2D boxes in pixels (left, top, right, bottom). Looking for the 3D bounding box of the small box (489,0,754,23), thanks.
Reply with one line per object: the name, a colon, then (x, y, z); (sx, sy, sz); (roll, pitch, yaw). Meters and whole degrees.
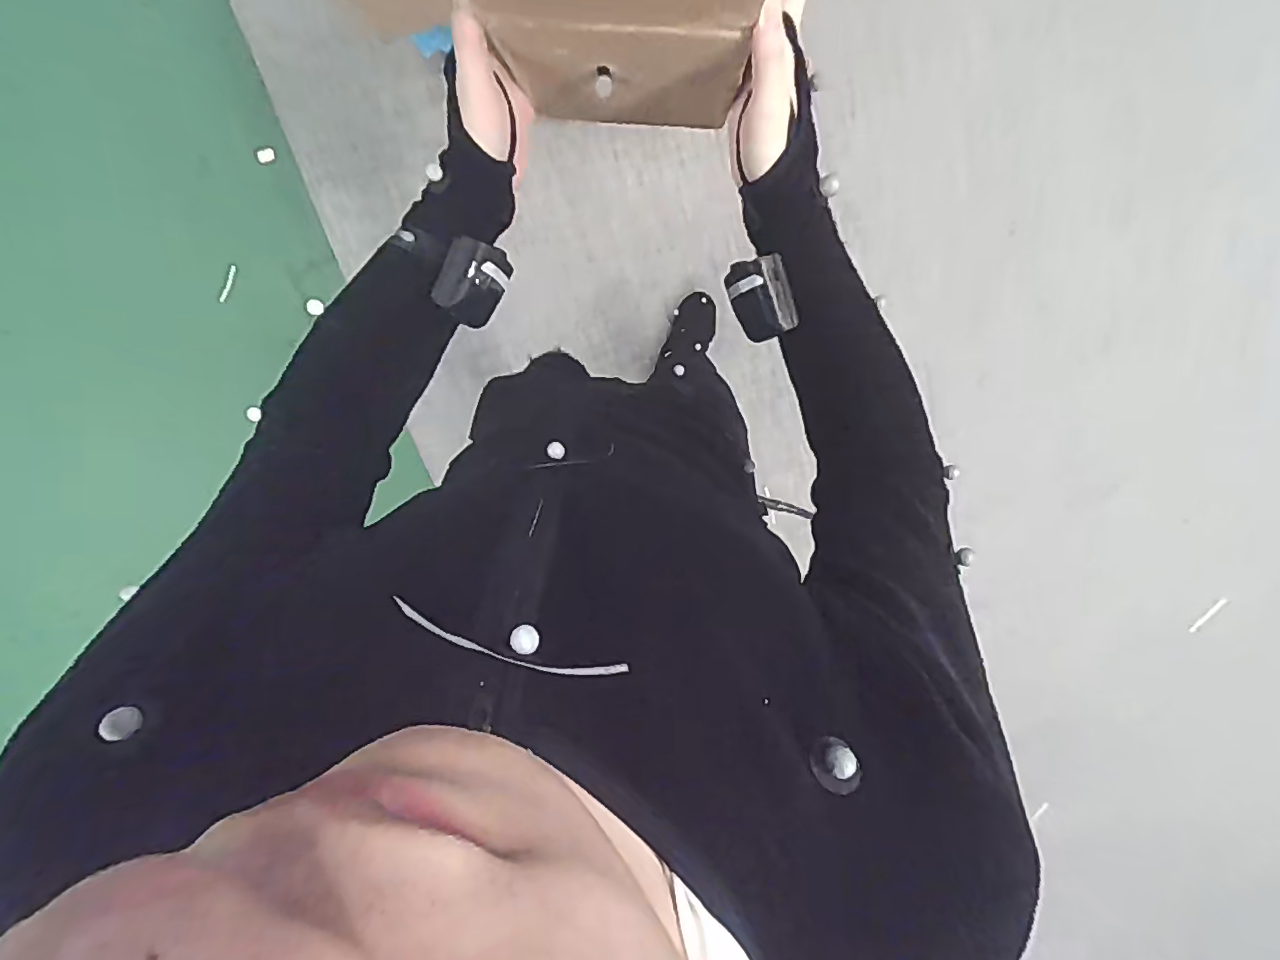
small box: (-0.013, -0.344, 0.241); (0.179, 0.176, 0.168); (3, 107, 1)
